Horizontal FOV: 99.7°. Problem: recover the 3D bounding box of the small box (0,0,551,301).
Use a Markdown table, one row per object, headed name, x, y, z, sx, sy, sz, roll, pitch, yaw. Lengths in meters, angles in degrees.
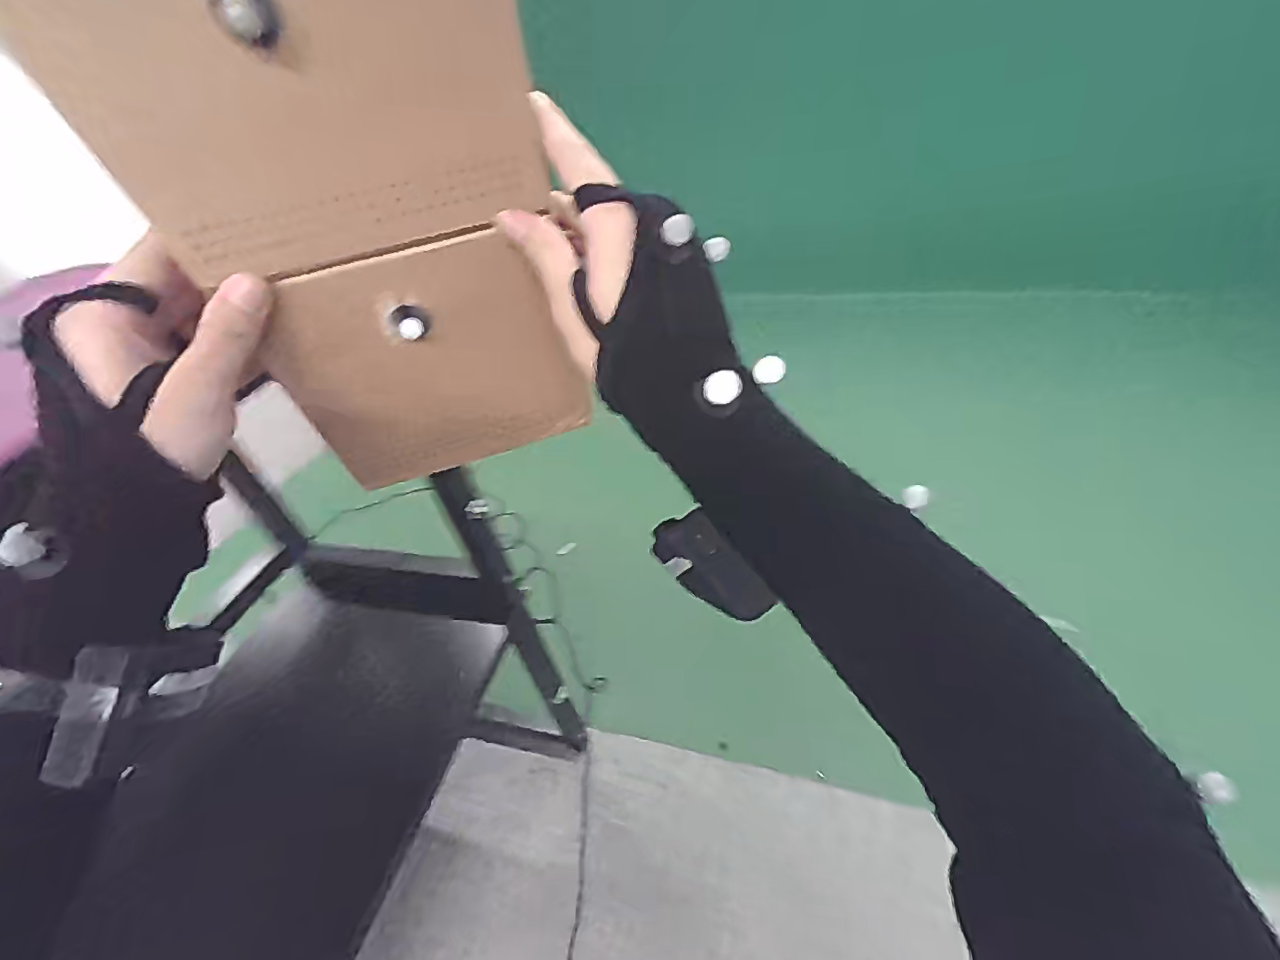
| name | x | y | z | sx | sy | sz | roll | pitch | yaw |
| --- | --- | --- | --- | --- | --- | --- | --- | --- | --- |
| small box | -0.149 | -0.215 | 0.254 | 0.179 | 0.176 | 0.168 | -18 | 54 | -7 |
